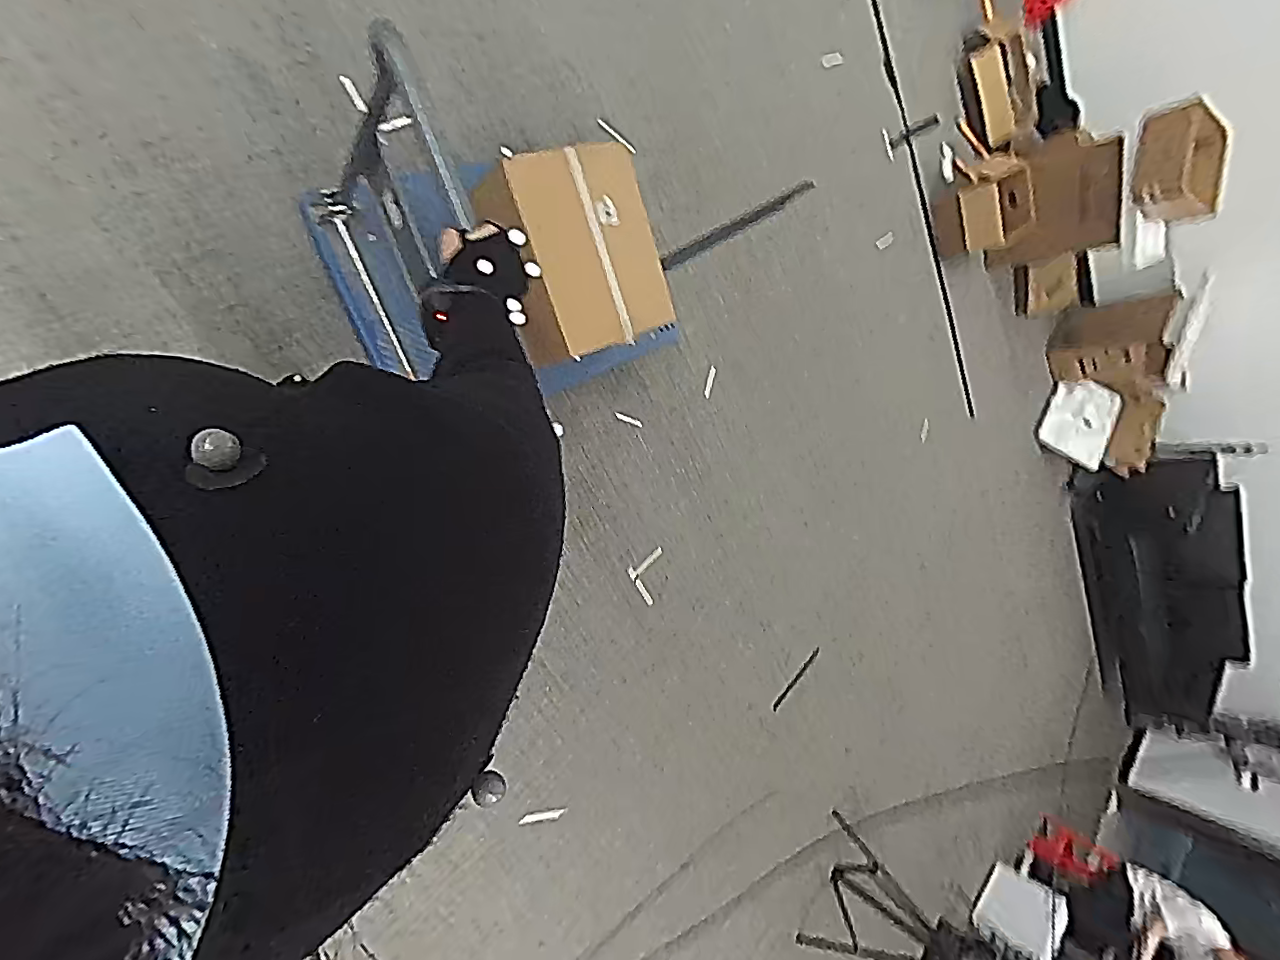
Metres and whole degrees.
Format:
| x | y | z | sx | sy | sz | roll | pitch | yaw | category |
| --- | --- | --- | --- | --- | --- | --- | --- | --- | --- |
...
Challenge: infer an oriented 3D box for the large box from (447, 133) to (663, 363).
| x | y | z | sx | sy | sz | roll | pitch | yaw | category |
| --- | --- | --- | --- | --- | --- | --- | --- | --- | --- |
| -0.206 | -0.536 | 1.303 | 0.320 | 0.320 | 0.408 | -30 | 109 | -31 | large box |
